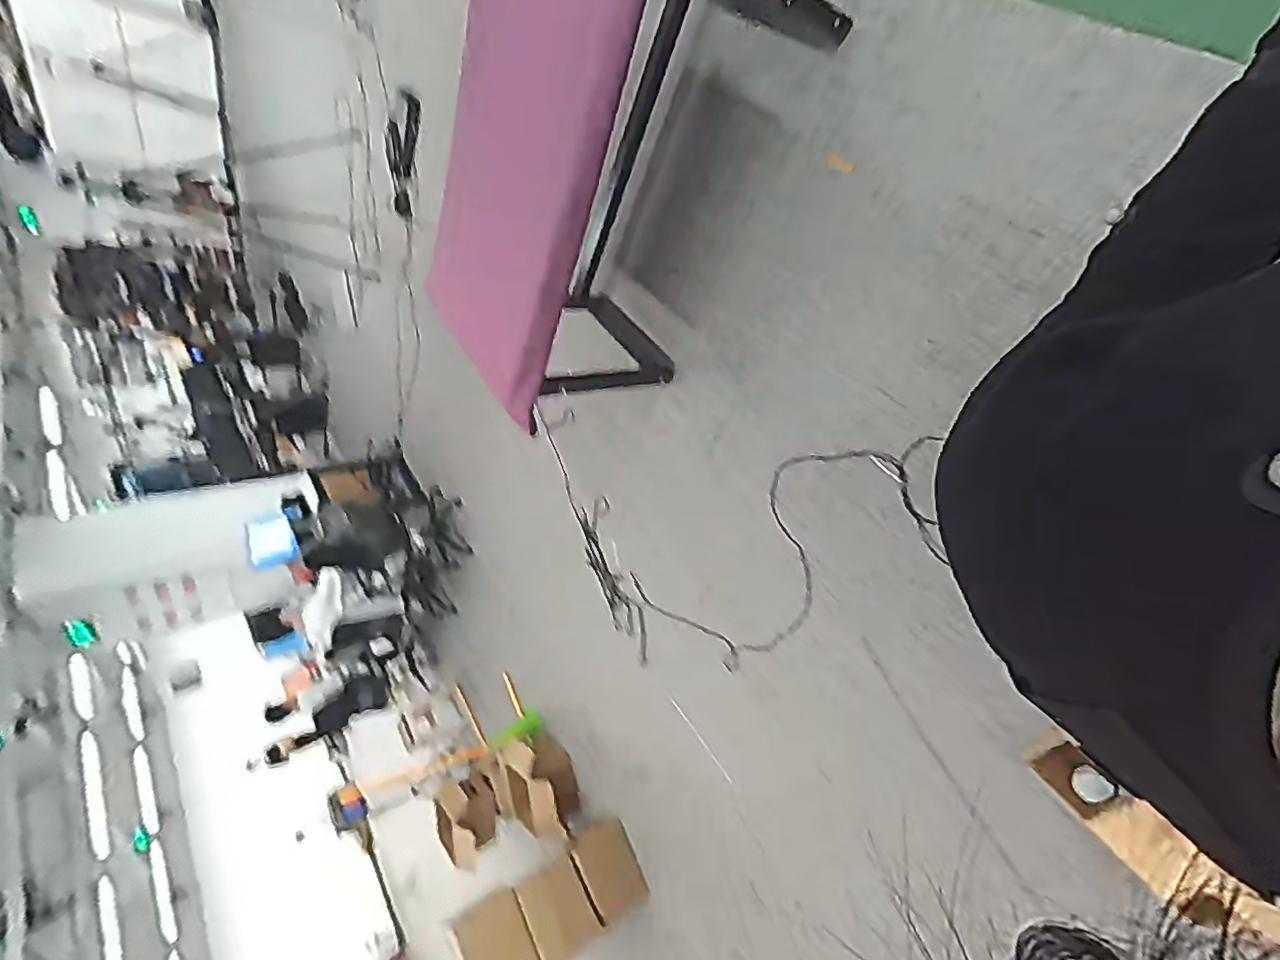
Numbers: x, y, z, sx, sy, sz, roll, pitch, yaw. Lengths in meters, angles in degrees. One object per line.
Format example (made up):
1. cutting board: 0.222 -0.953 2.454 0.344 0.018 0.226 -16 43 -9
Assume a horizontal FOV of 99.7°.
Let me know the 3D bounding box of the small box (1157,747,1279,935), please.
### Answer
1. small box: 1.046 0.600 0.916 0.179 0.176 0.168 41 129 35
